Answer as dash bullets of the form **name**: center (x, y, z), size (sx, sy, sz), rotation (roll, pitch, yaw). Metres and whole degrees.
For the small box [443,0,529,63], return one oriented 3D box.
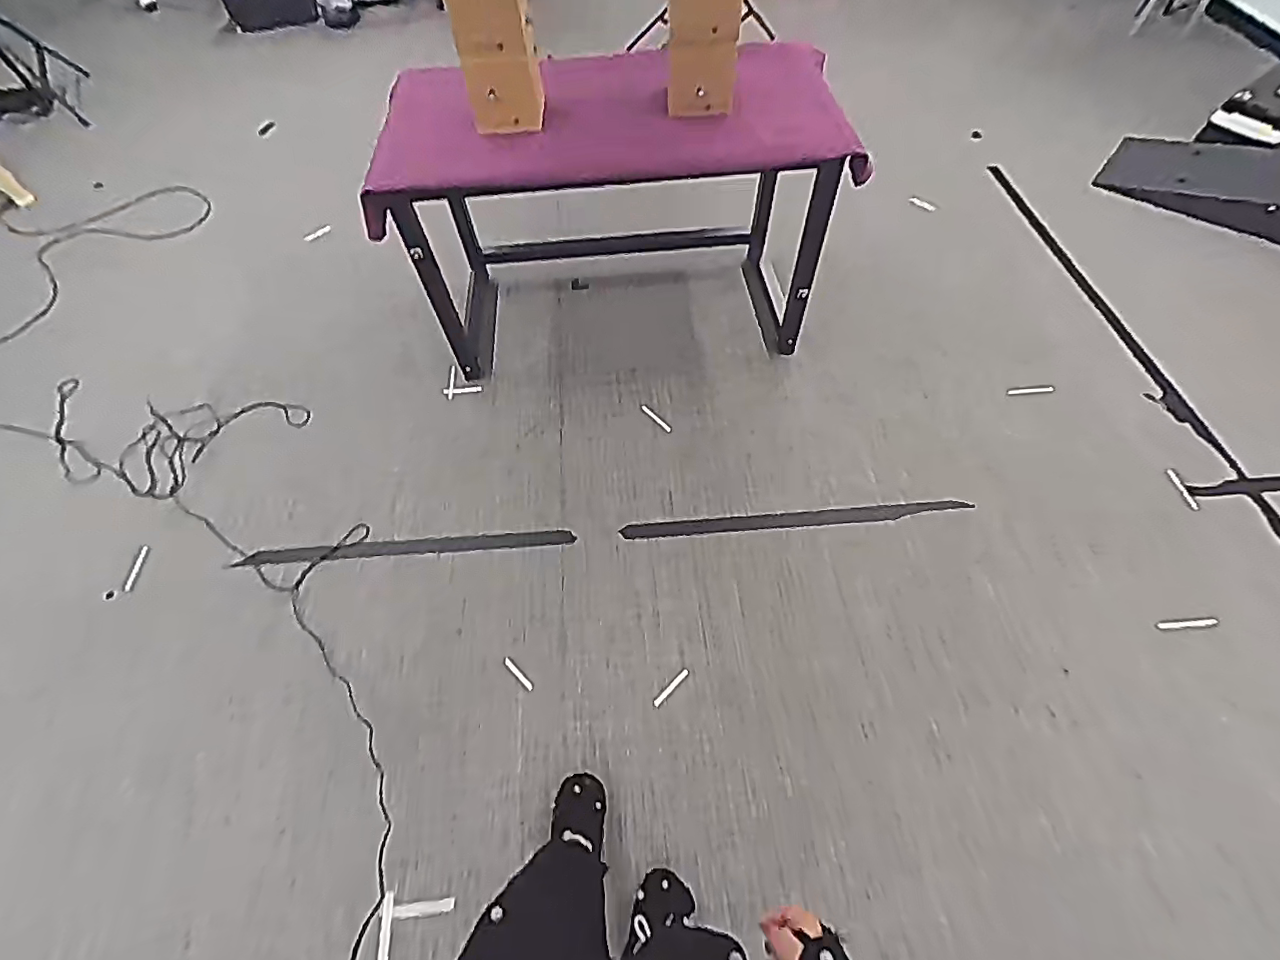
- **small box**: center (-0.358, -1.105, 1.257), size (0.168, 0.176, 0.179), rotation (-5, 57, 0)

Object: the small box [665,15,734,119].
- **small box**: center (0.149, -1.069, 1.404), size (0.168, 0.176, 0.179), rotation (-1, 58, 3)

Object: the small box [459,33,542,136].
- **small box**: center (-0.351, -1.013, 1.393), size (0.168, 0.176, 0.179), rotation (-4, 58, 0)
